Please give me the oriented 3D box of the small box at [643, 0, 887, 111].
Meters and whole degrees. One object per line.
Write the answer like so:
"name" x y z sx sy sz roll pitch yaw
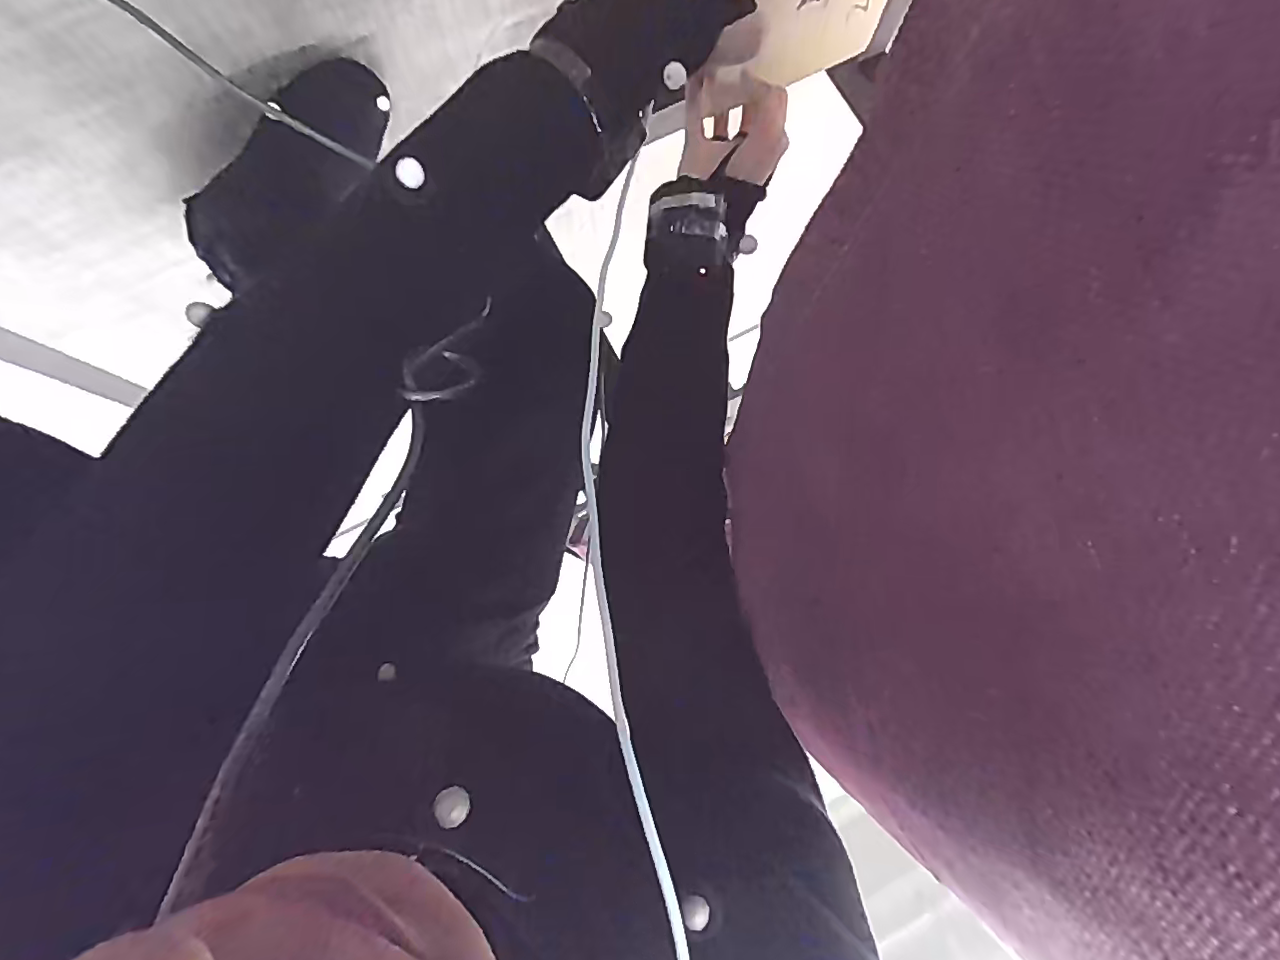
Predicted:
"small box" 0.100 -0.453 0.427 0.179 0.176 0.168 -28 171 -7
